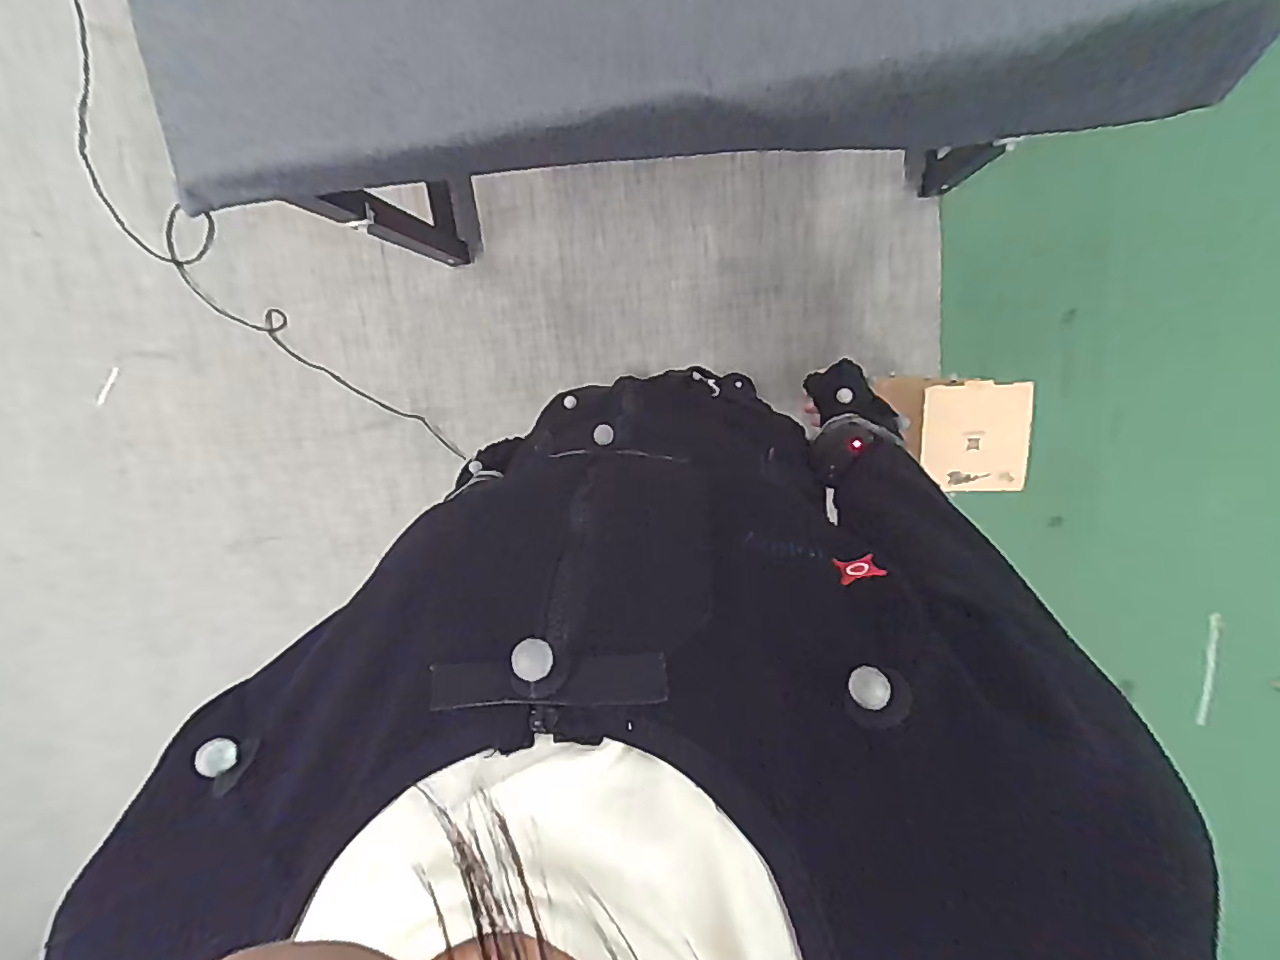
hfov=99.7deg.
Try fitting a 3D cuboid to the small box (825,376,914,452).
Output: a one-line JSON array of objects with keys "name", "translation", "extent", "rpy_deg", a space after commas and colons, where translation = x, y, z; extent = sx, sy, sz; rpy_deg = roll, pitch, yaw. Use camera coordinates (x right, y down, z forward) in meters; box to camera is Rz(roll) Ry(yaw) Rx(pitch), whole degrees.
[{"name": "small box", "translation": [0.547, -0.159, 1.270], "extent": [0.179, 0.176, 0.168], "rpy_deg": [-1, 101, 7]}]

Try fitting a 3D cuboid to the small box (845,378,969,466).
[{"name": "small box", "translation": [0.537, -0.124, 1.110], "extent": [0.179, 0.176, 0.168], "rpy_deg": [0, 101, 6]}]
